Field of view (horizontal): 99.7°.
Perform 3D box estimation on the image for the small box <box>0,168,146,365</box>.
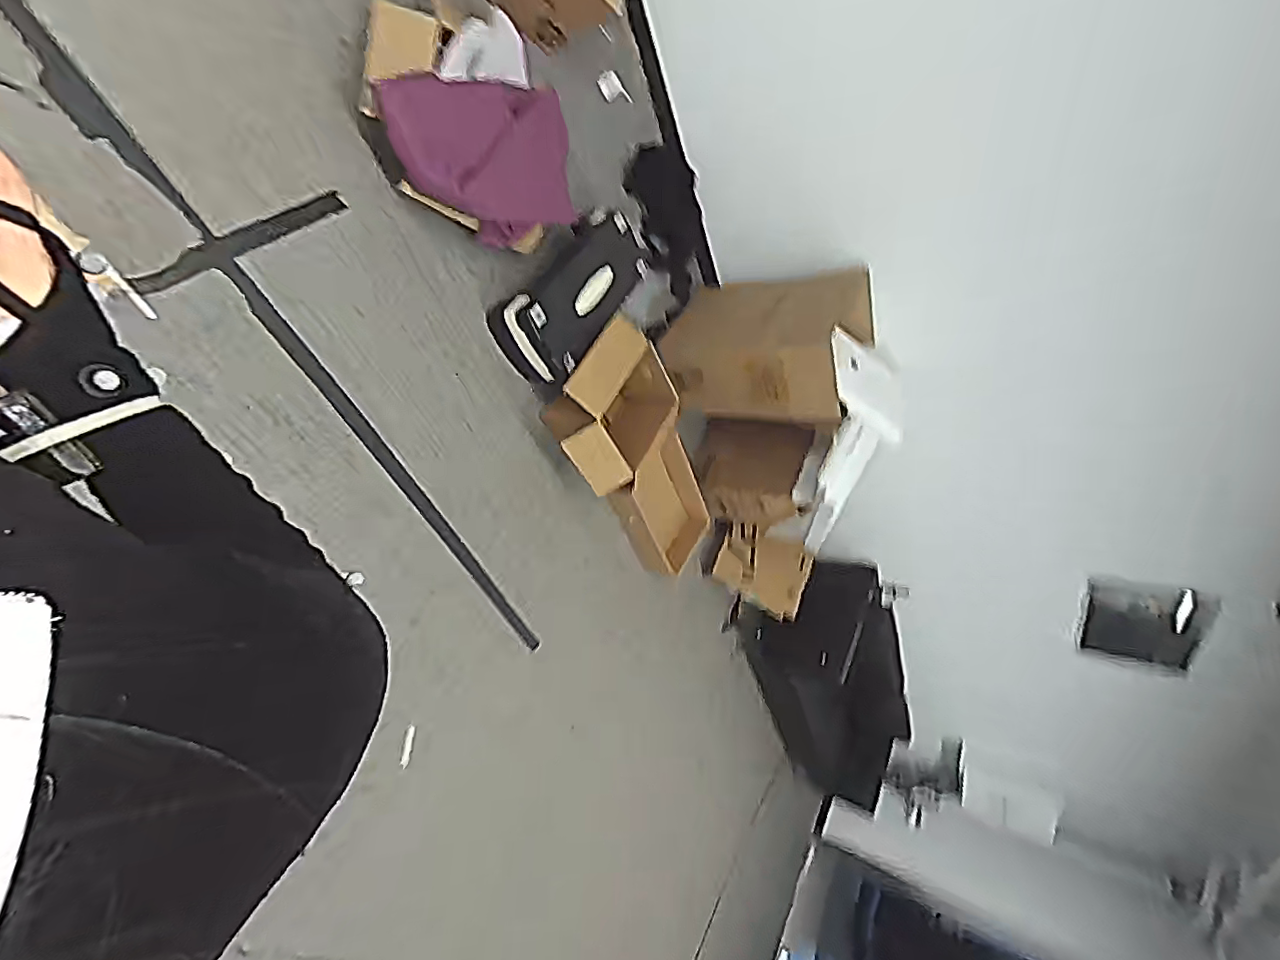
[{"bbox_3d":[-0.778,-0.251,0.665,0.179,0.176,0.168,-51,134,-34],"label":"small box"}]
